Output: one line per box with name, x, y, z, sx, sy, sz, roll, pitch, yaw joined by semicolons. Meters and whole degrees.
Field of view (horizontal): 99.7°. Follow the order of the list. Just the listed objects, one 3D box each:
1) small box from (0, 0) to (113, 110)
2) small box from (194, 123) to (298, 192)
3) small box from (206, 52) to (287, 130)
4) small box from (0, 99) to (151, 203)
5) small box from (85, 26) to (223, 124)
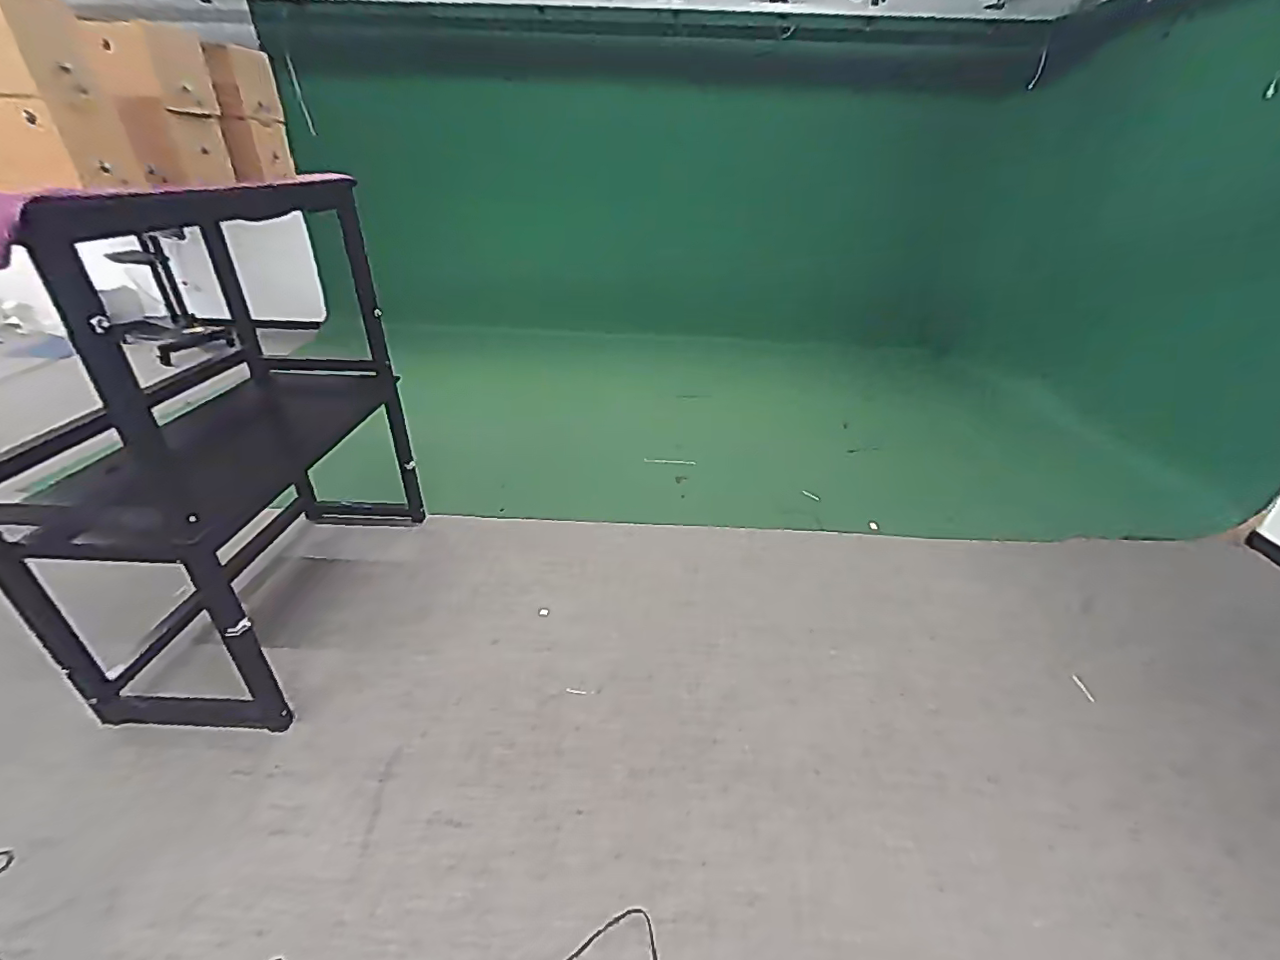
small box;-1.182;-0.808;1.025;0.179;0.176;0.168;-1;30;-3
small box;-1.181;-0.973;1.638;0.179;0.176;0.168;3;30;0
small box;-1.173;-1.118;1.564;0.179;0.176;0.168;5;32;3
small box;-1.175;-0.663;1.104;0.179;0.176;0.168;0;29;-3
small box;-1.173;-0.973;1.310;0.179;0.176;0.168;5;31;3
